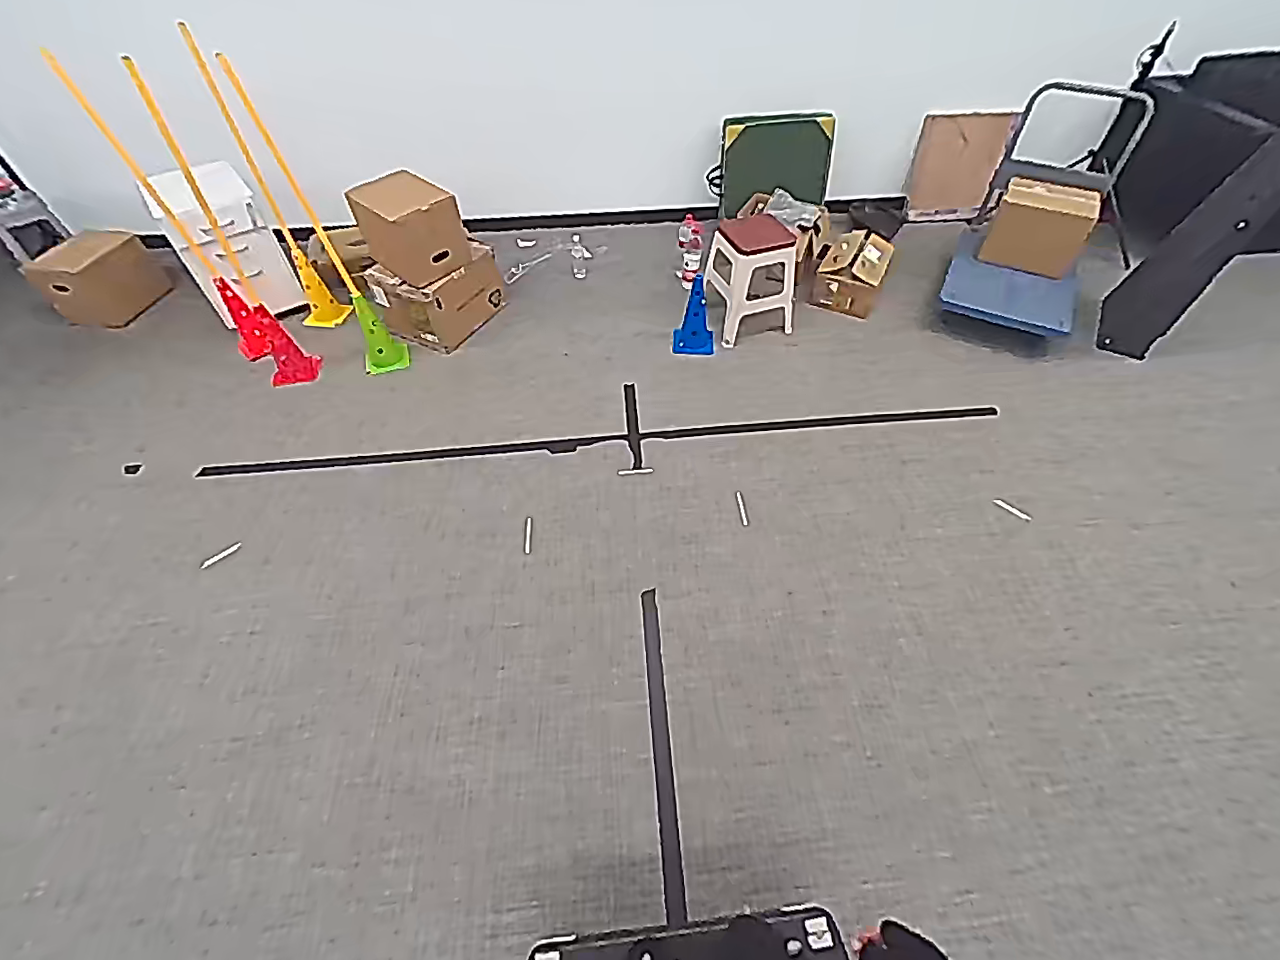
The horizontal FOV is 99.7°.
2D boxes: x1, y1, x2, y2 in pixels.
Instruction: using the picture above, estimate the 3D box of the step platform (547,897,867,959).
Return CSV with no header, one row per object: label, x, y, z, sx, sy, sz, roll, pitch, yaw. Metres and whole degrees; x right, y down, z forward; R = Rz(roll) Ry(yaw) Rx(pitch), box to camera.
step platform,0.140,1.087,1.121,0.684,0.204,0.286,-5,51,-5
